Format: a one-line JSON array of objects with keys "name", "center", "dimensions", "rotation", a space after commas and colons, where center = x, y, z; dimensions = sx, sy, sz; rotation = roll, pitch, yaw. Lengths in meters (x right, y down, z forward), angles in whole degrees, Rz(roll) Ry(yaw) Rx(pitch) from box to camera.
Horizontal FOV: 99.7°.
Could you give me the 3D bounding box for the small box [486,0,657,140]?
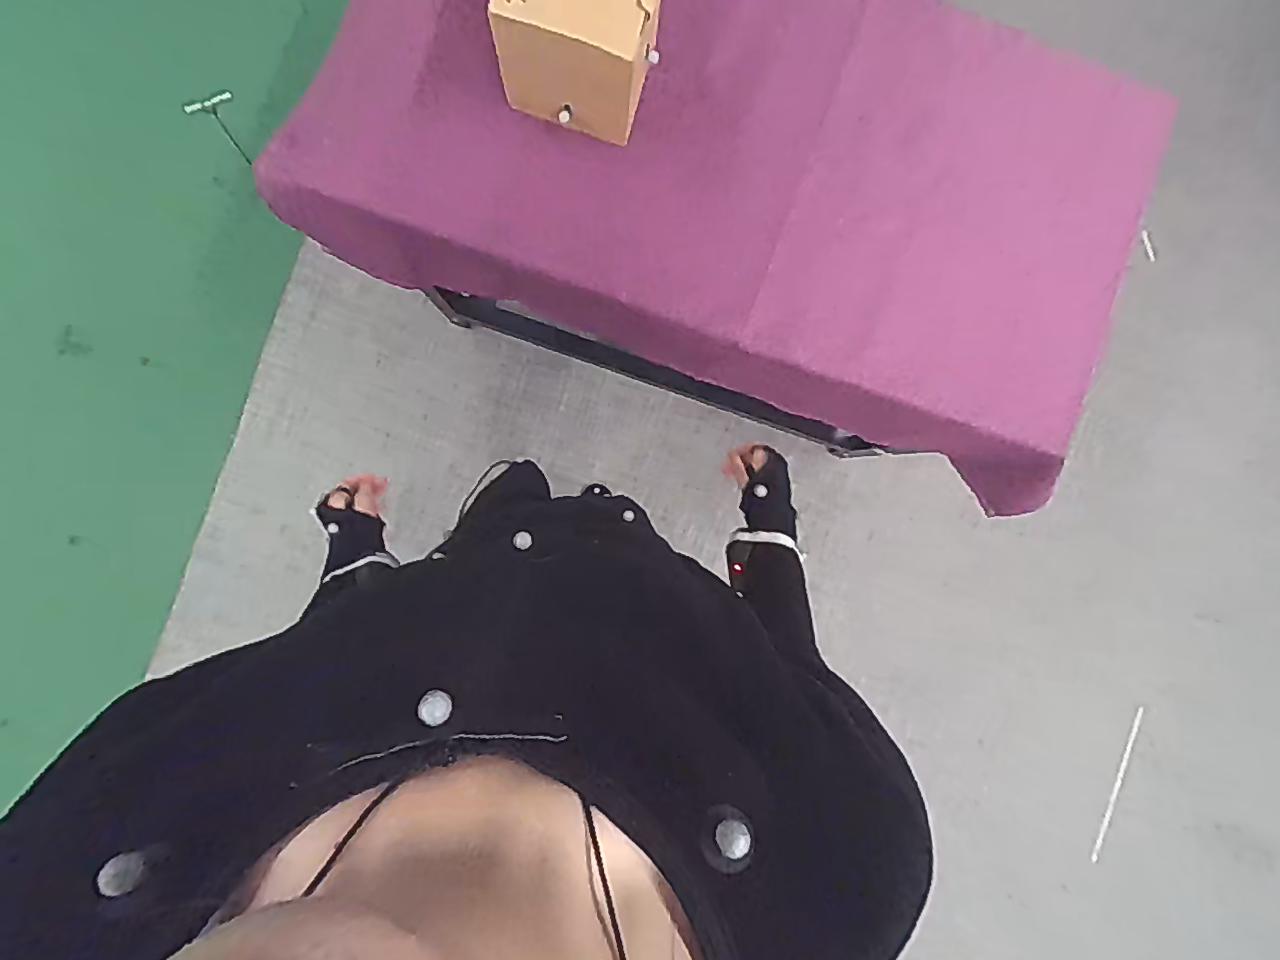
[{"name": "small box", "center": [-0.078, -0.584, 0.700], "dimensions": [0.179, 0.176, 0.168], "rotation": [16, 90, -5]}]
